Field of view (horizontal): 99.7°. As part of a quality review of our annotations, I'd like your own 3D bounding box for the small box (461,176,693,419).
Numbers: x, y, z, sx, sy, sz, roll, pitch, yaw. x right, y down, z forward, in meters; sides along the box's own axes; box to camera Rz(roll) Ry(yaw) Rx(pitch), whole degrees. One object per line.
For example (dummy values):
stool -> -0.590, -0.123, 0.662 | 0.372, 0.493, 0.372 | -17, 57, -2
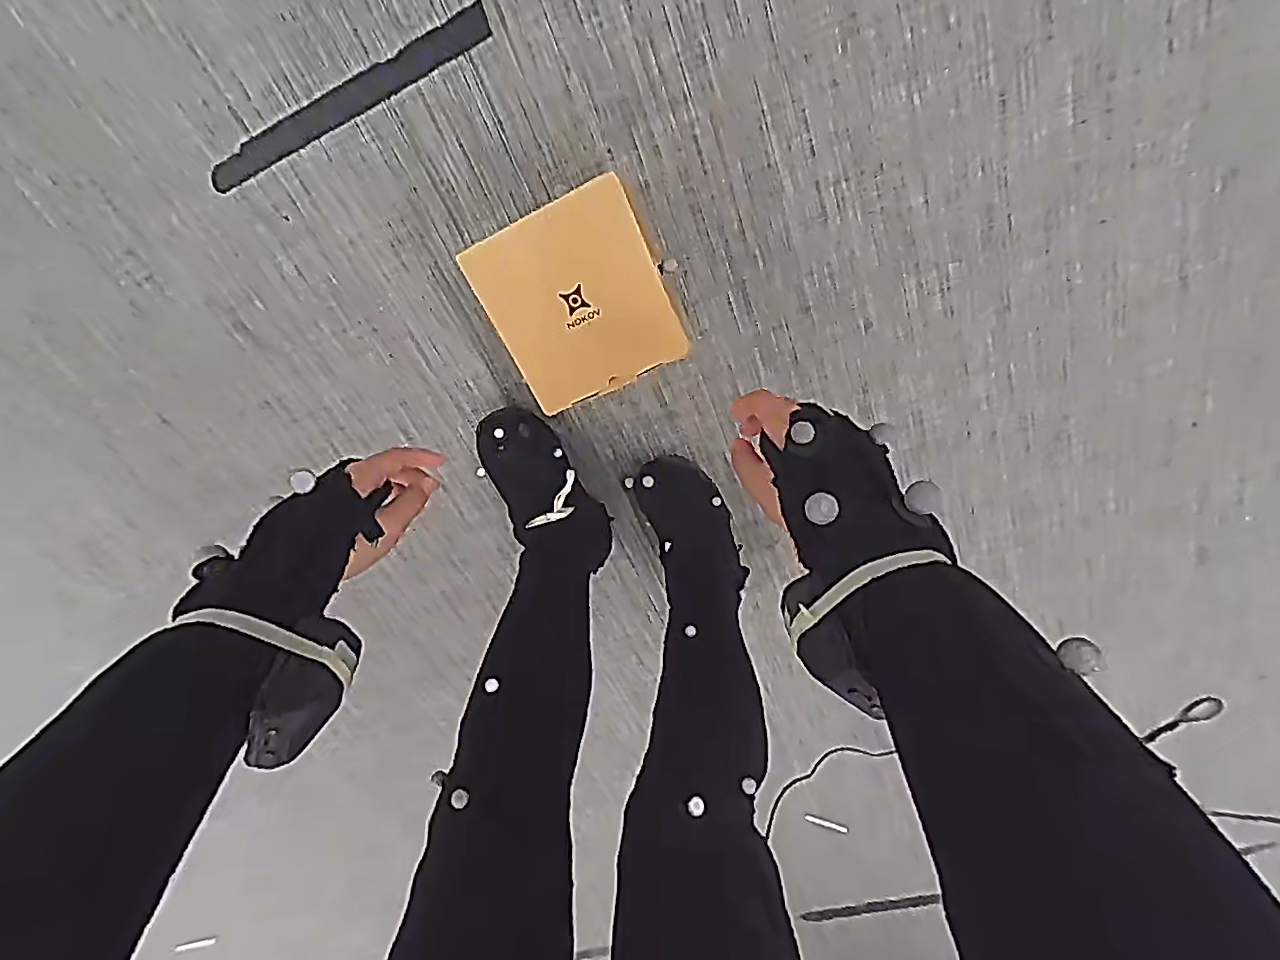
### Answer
small box -> -0.056, -0.197, 0.580 | 0.168, 0.176, 0.179 | -22, 116, 12
